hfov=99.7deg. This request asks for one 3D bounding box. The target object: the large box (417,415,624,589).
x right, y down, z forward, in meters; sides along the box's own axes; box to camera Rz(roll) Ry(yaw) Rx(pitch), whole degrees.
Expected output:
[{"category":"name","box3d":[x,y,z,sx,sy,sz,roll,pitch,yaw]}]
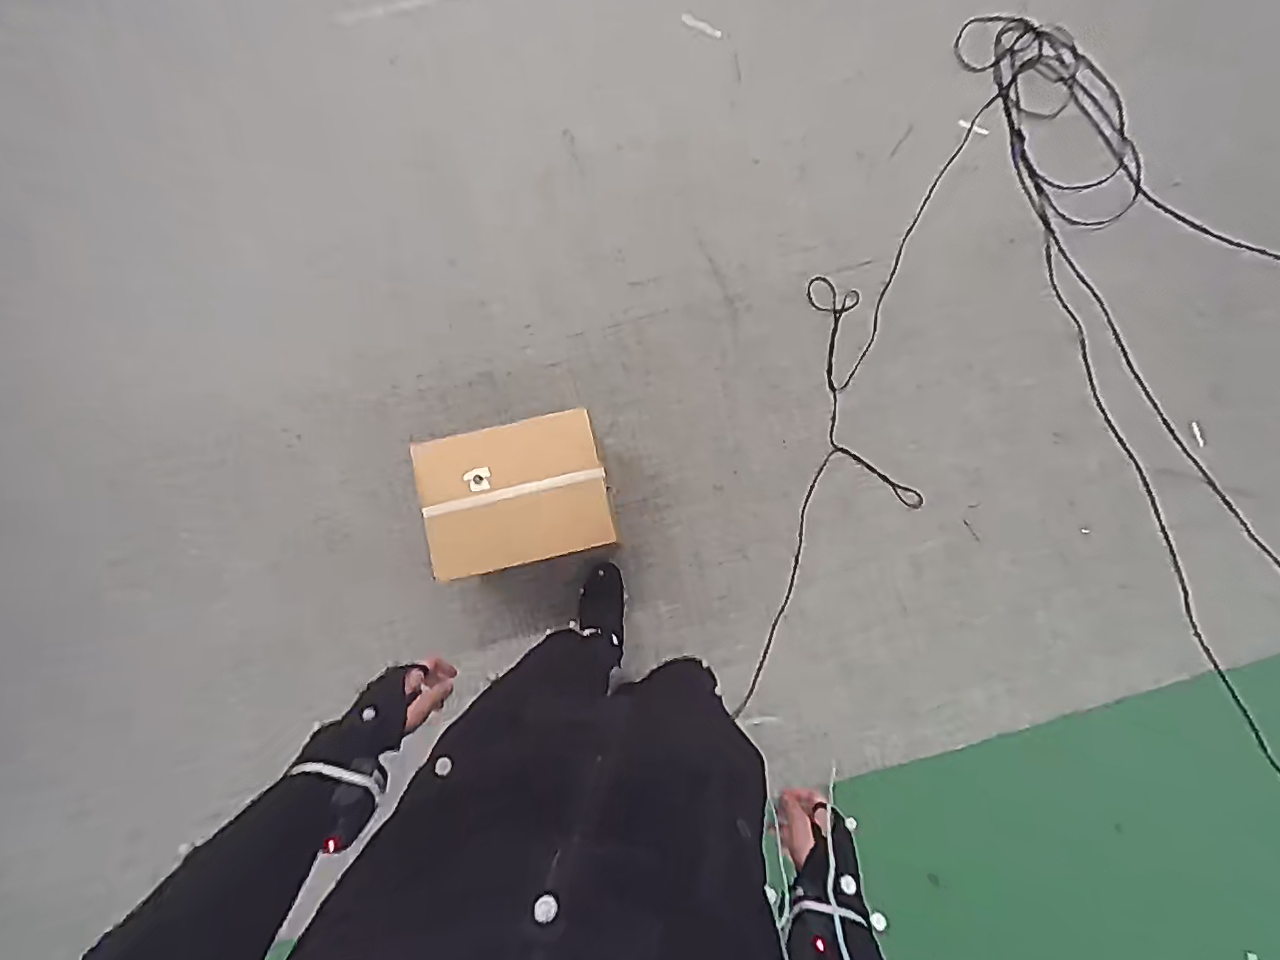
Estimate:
[{"category":"large box","box3d":[-0.273,0.063,1.345,0.408,0.320,0.320,-13,82,-1]}]
